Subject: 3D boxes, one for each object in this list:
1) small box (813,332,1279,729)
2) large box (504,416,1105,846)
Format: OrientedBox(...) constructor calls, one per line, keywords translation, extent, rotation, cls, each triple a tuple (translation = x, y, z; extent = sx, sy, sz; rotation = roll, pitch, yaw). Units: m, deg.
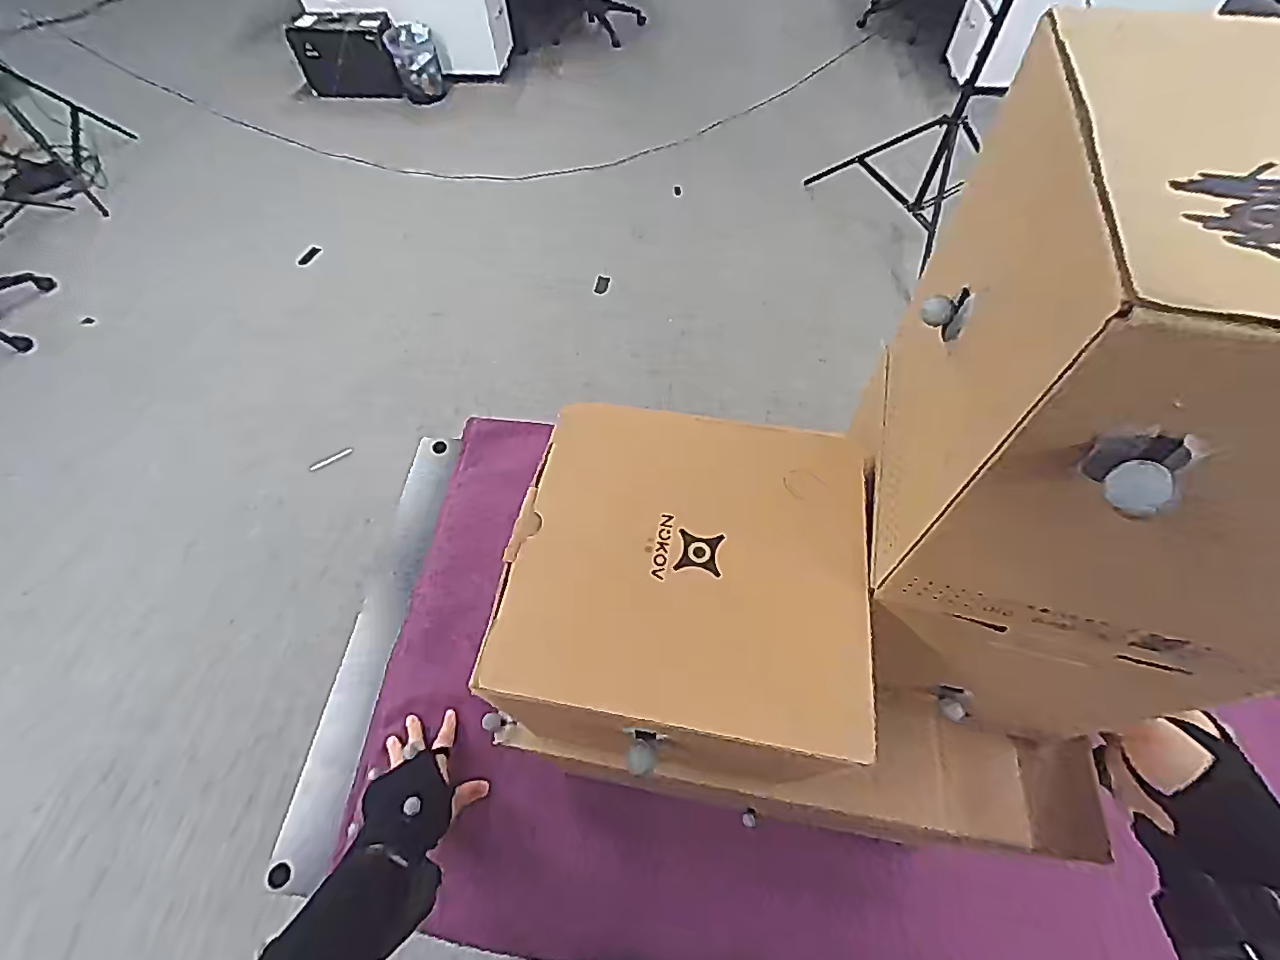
OrientedBox(translation=(0.217, 0.037, 0.348), extent=(0.168, 0.176, 0.179), rotation=(11, 58, 11), cls="small box")
OrientedBox(translation=(0.127, 0.162, 0.563), extent=(0.408, 0.320, 0.320), rotation=(6, 57, 7), cls="large box")
